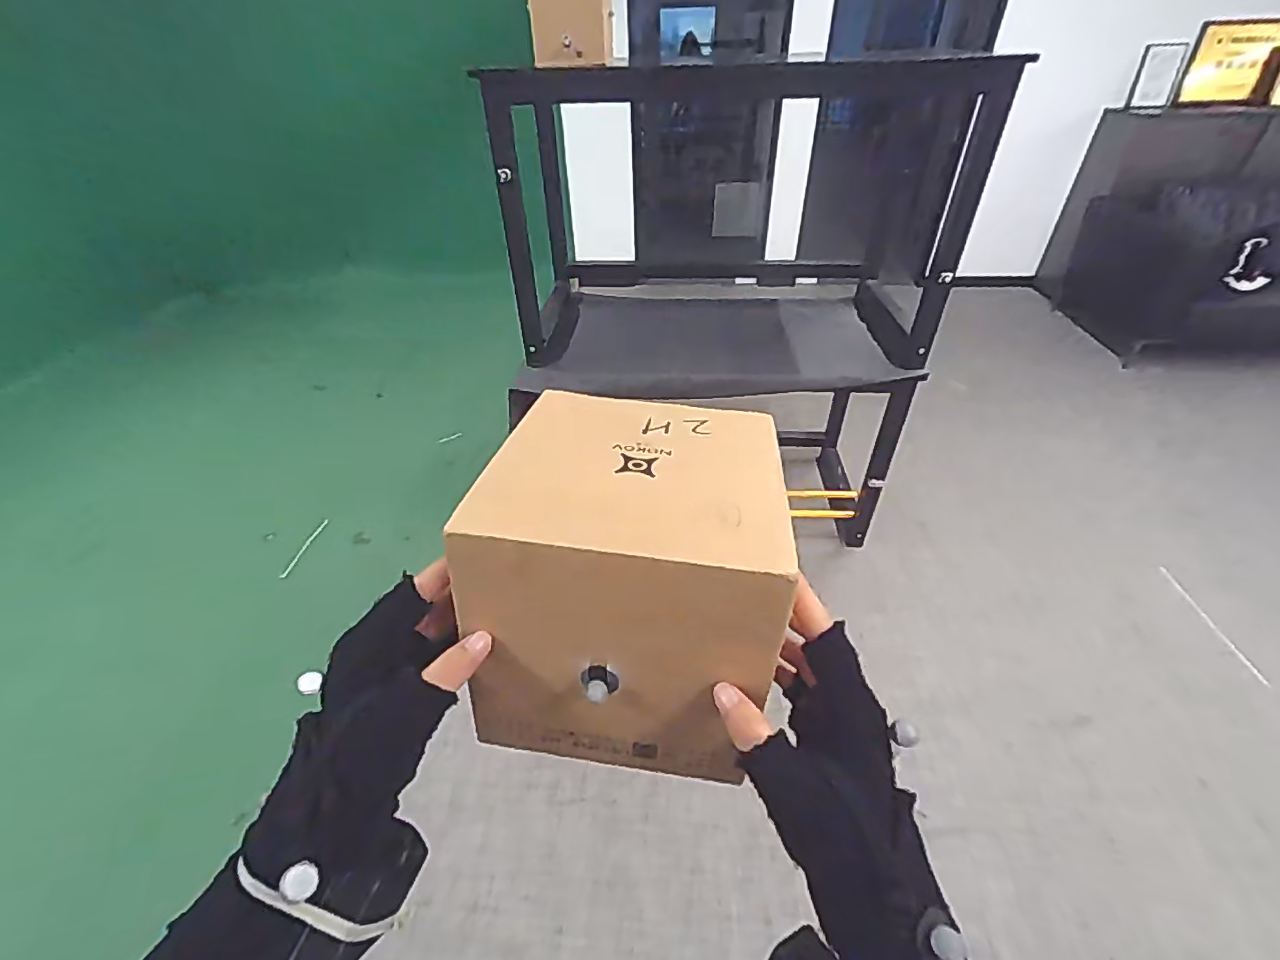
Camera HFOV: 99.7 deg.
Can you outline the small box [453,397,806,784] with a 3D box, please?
[{"bbox_3d":[0.000,0.063,0.354,0.168,0.176,0.179,8,31,4],"label":"small box"}]
